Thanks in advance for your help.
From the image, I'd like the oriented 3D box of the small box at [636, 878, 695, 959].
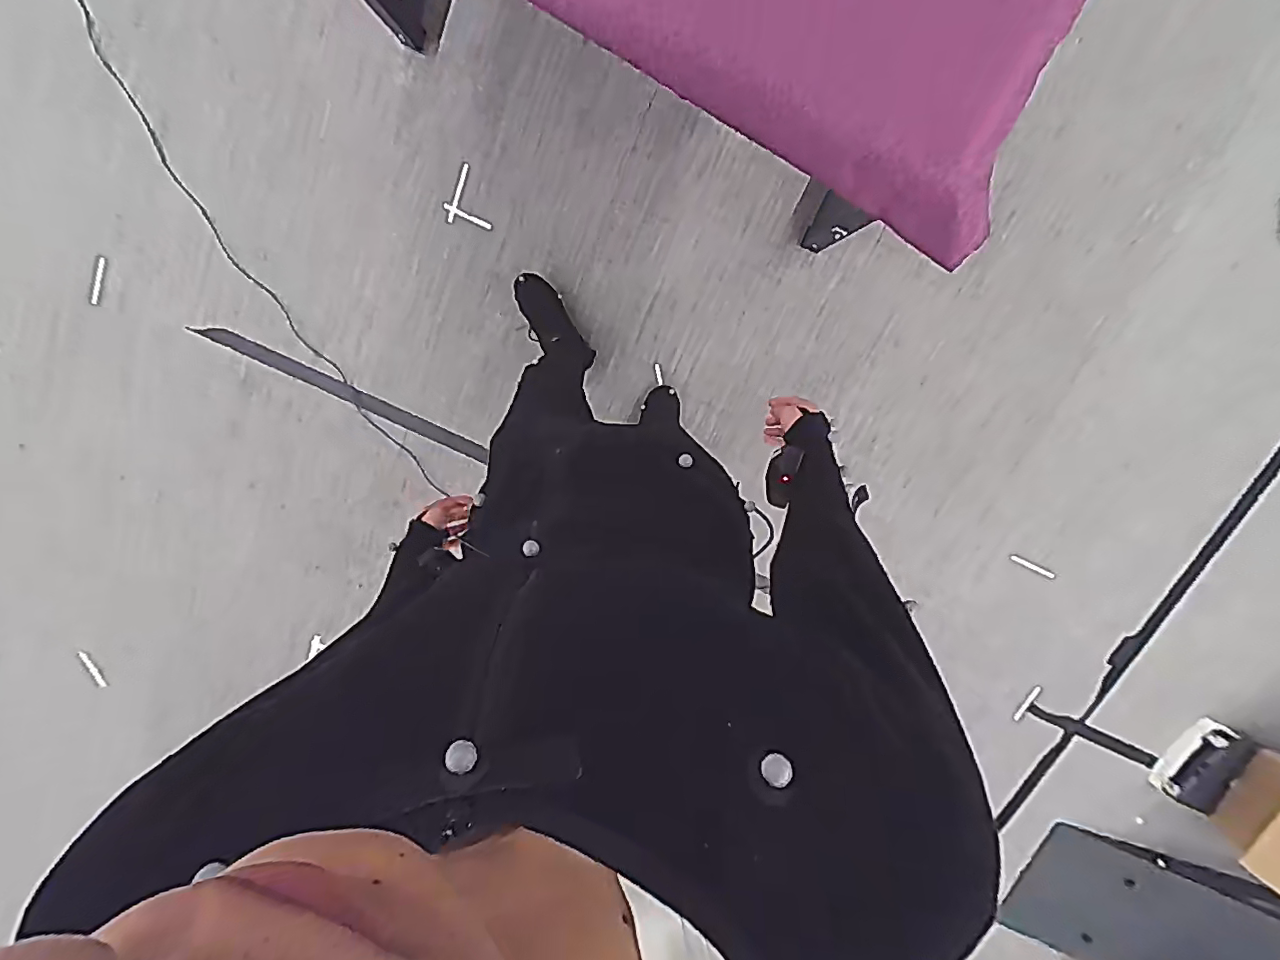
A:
[{"bbox_3d":[0.091,1.584,1.956,0.168,0.176,0.179,-20,102,8],"label":"small box"}]
